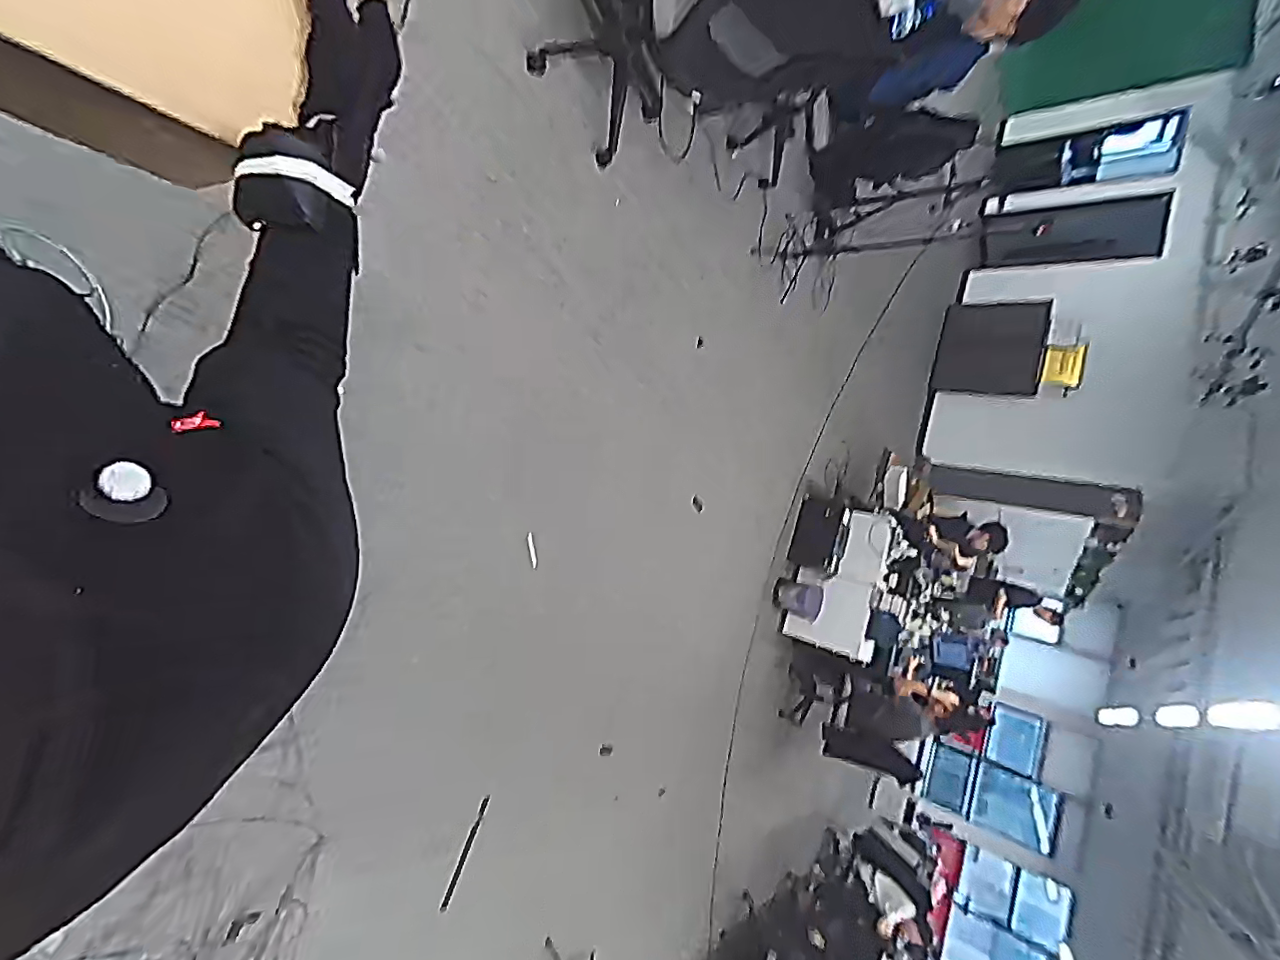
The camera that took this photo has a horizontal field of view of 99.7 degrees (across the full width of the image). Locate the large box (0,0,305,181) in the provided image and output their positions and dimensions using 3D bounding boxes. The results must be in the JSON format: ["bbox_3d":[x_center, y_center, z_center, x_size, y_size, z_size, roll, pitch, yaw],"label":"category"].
[{"bbox_3d":[-0.492,-0.454,0.353,0.408,0.320,0.320,7,101,-54],"label":"large box"}]
